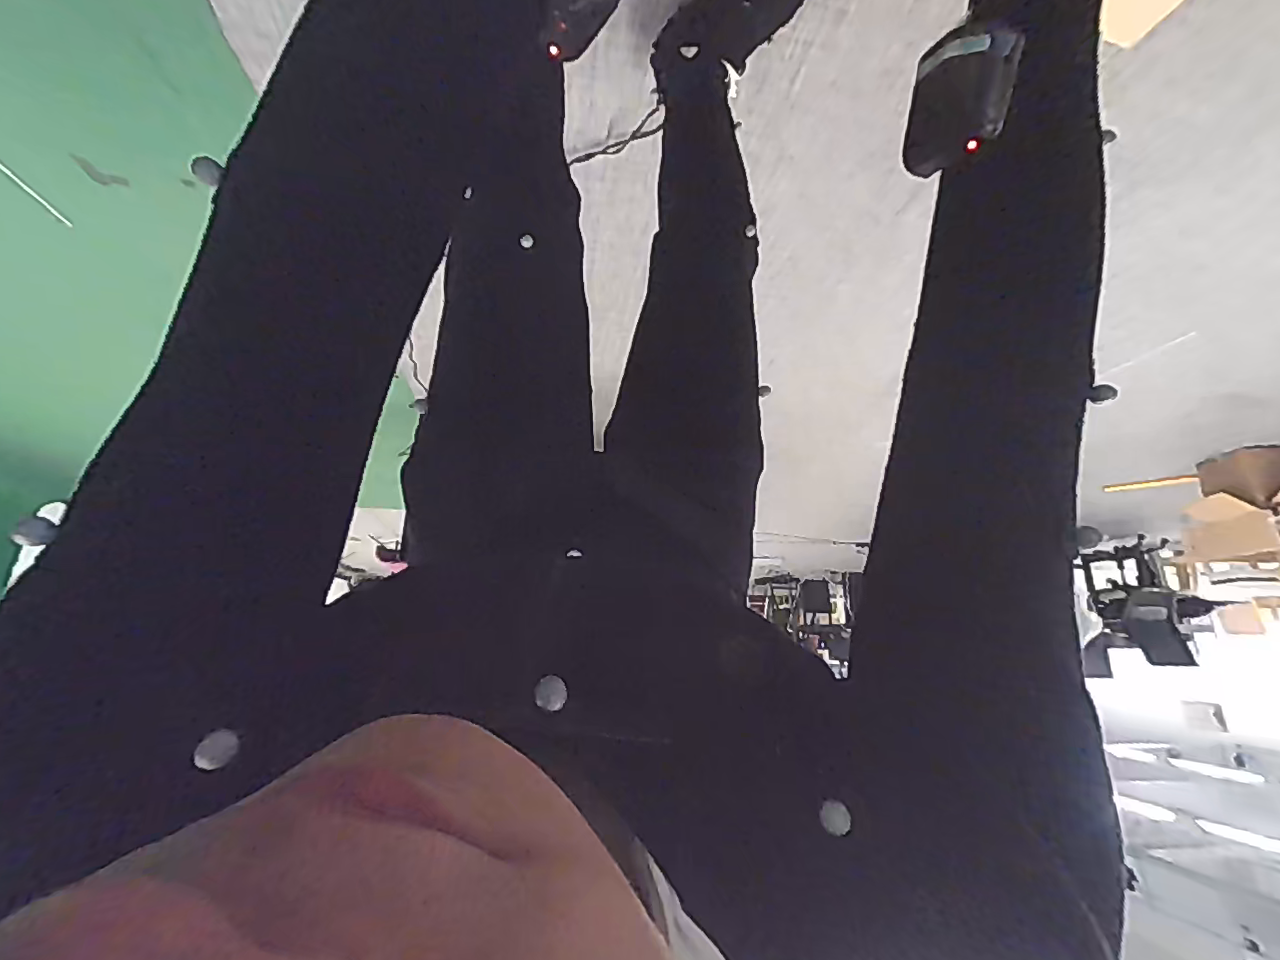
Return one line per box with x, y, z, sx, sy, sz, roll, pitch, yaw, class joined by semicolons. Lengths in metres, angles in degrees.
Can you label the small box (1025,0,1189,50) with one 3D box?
0.467;-0.565;0.500;0.179;0.176;0.168;7;164;-16;small box
